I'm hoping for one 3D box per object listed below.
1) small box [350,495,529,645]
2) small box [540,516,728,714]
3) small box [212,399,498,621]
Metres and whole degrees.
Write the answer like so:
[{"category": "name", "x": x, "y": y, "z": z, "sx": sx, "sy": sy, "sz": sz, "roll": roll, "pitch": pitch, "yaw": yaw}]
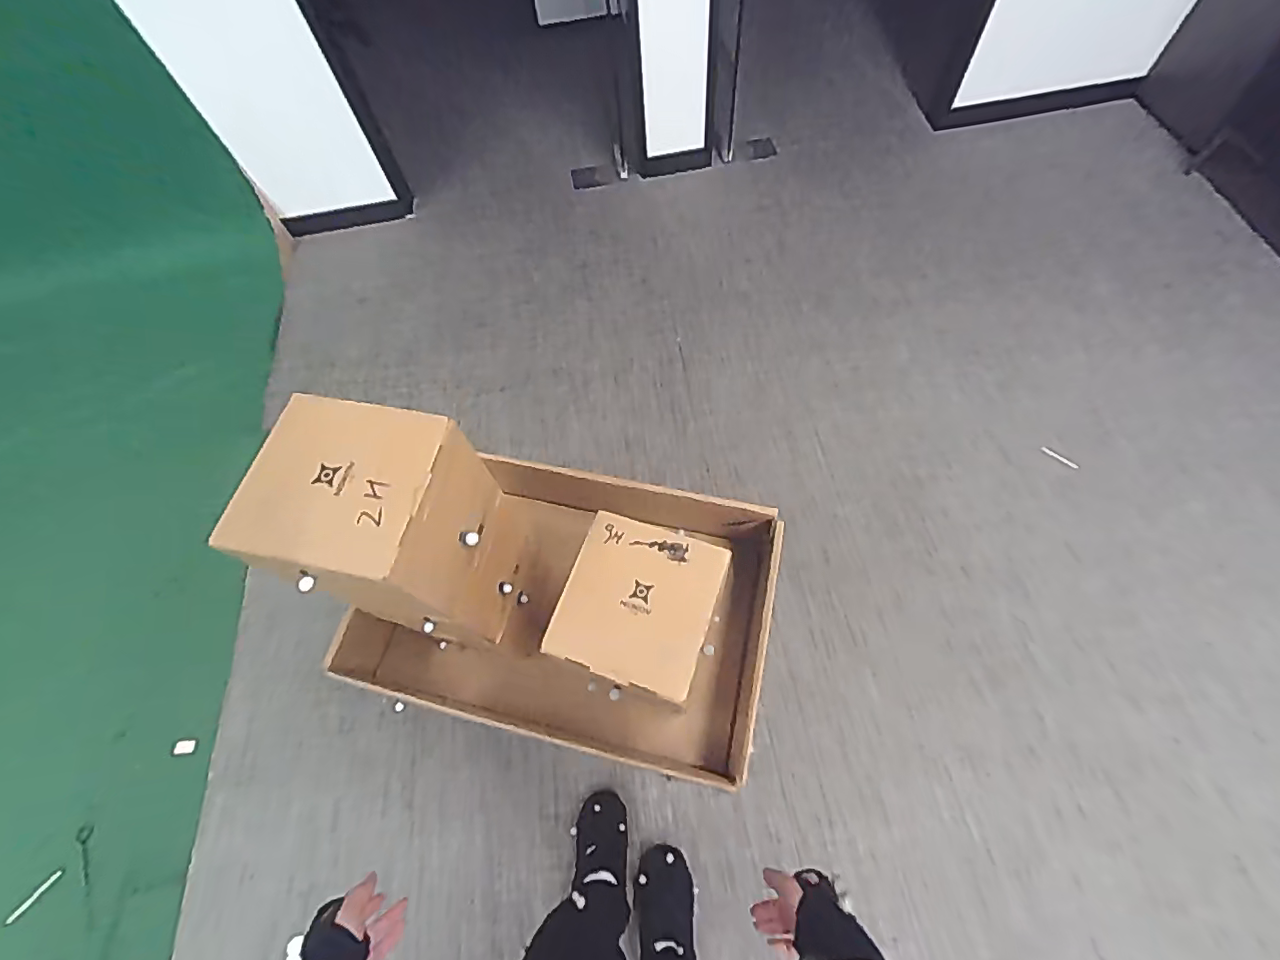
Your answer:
[{"category": "small box", "x": -0.269, "y": 0.111, "z": 0.720, "sx": 0.179, "sy": 0.176, "sz": 0.168, "roll": 11, "pitch": 65, "yaw": 7}, {"category": "small box", "x": 0.002, "y": 0.174, "z": 0.668, "sx": 0.168, "sy": 0.176, "sz": 0.179, "roll": 18, "pitch": 66, "yaw": 12}, {"category": "small box", "x": -0.275, "y": 0.039, "z": 0.571, "sx": 0.179, "sy": 0.176, "sz": 0.168, "roll": 10, "pitch": 65, "yaw": 7}]
